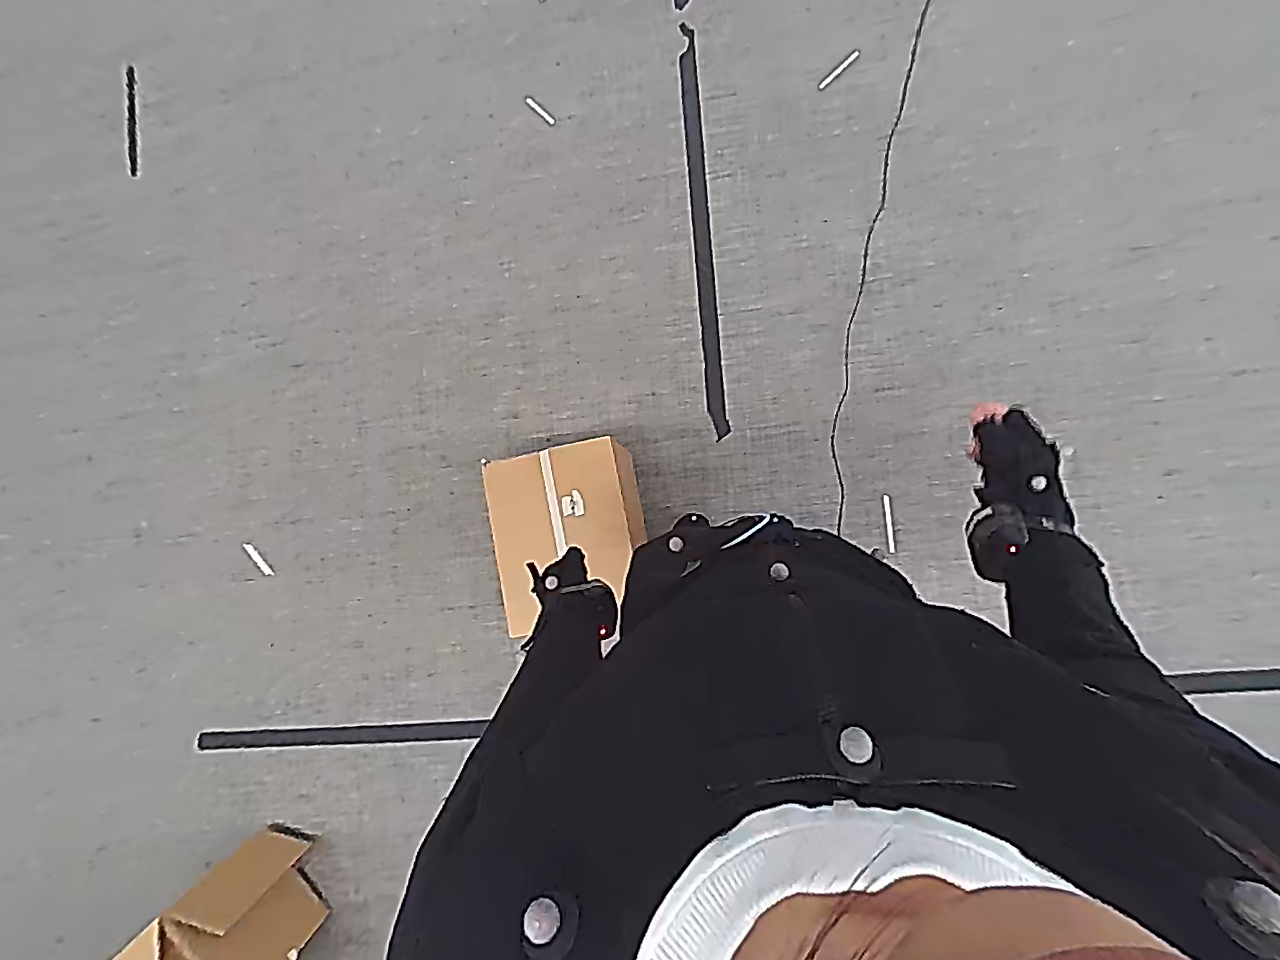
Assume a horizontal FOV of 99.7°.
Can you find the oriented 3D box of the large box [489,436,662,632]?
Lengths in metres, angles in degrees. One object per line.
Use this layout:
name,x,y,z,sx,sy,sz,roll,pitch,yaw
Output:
large box,-0.147,0.137,1.372,0.320,0.320,0.408,-12,83,7
